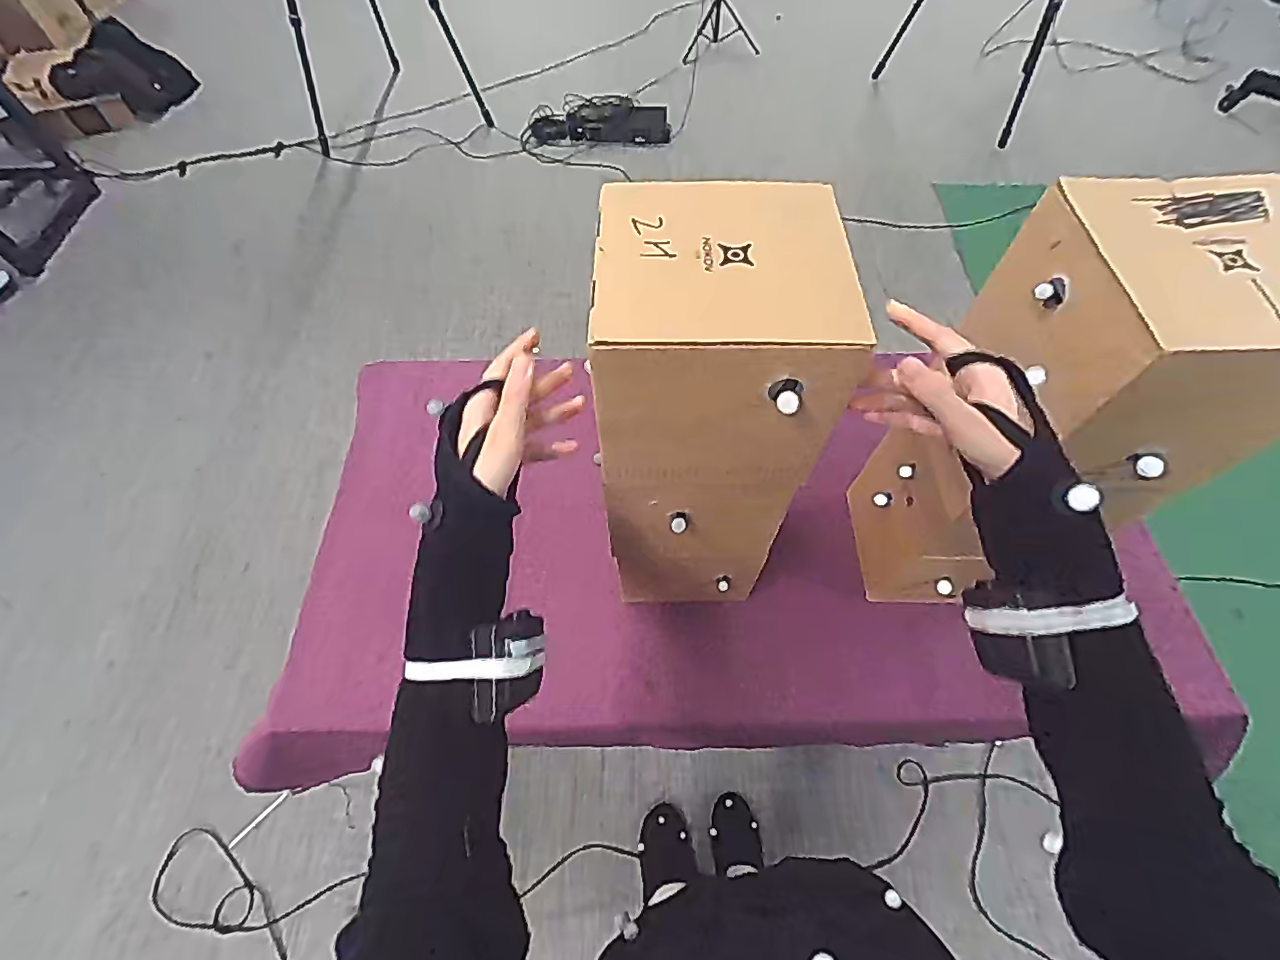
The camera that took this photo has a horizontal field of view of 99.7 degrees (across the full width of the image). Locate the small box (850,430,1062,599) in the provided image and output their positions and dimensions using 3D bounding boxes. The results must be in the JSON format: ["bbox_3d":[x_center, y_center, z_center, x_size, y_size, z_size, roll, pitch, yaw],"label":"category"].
[{"bbox_3d":[0.397,0.051,0.718,0.168,0.176,0.179,1,59,2],"label":"small box"}]

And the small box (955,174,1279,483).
[{"bbox_3d":[0.389,-0.114,0.433,0.168,0.176,0.179,-1,60,2],"label":"small box"}]

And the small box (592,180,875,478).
[{"bbox_3d":[0.059,-0.112,0.437,0.179,0.176,0.168,0,58,1],"label":"small box"}]

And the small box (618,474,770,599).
[{"bbox_3d":[0.062,0.053,0.722,0.179,0.176,0.168,-1,59,1],"label":"small box"}]
